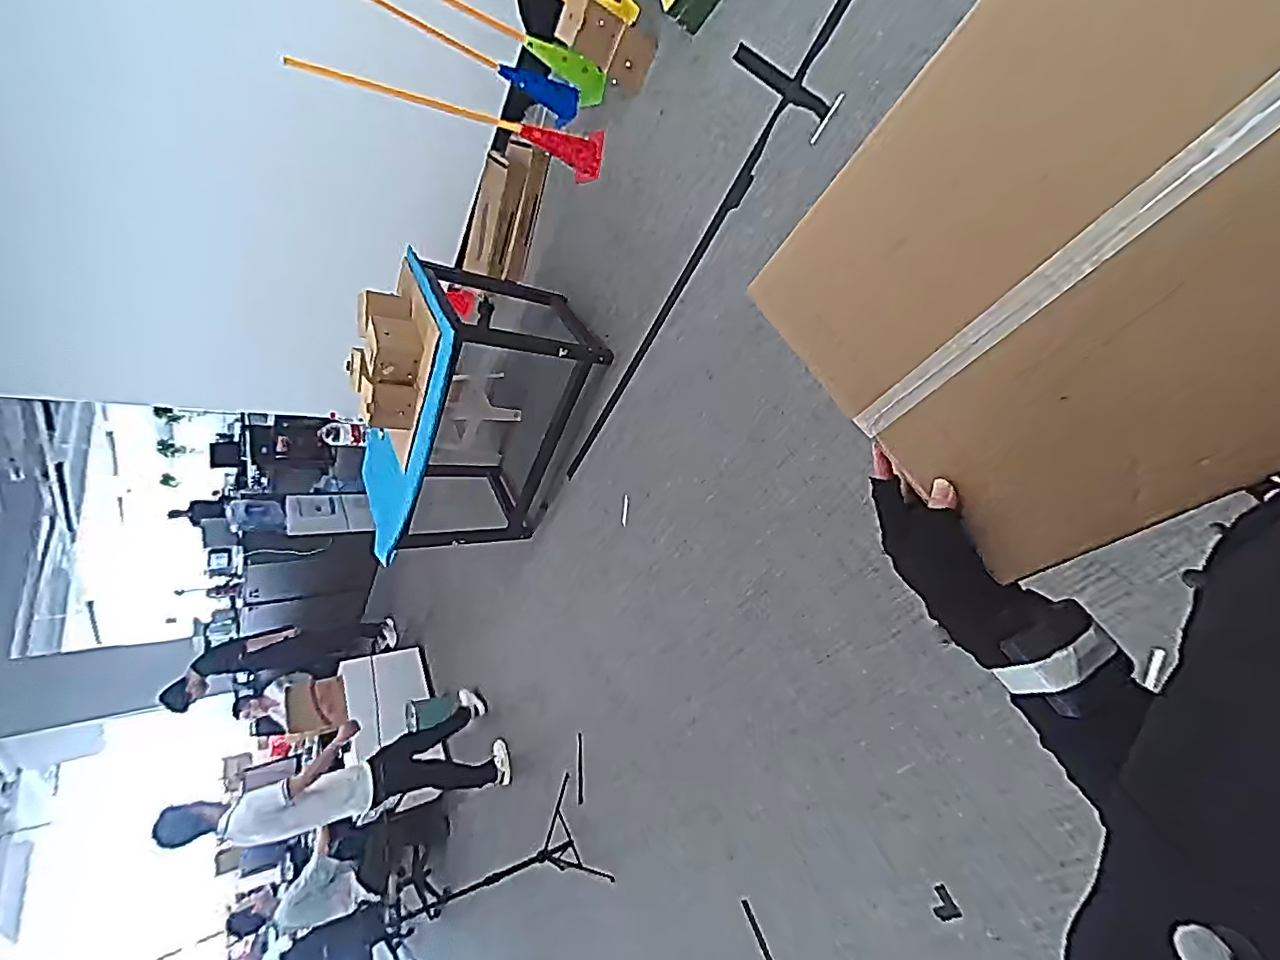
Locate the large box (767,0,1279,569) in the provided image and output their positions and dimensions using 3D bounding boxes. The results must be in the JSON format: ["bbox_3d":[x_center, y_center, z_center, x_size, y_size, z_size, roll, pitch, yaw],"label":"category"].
[{"bbox_3d":[0.387,-0.197,0.416,0.320,0.320,0.408,54,135,12],"label":"large box"}]
